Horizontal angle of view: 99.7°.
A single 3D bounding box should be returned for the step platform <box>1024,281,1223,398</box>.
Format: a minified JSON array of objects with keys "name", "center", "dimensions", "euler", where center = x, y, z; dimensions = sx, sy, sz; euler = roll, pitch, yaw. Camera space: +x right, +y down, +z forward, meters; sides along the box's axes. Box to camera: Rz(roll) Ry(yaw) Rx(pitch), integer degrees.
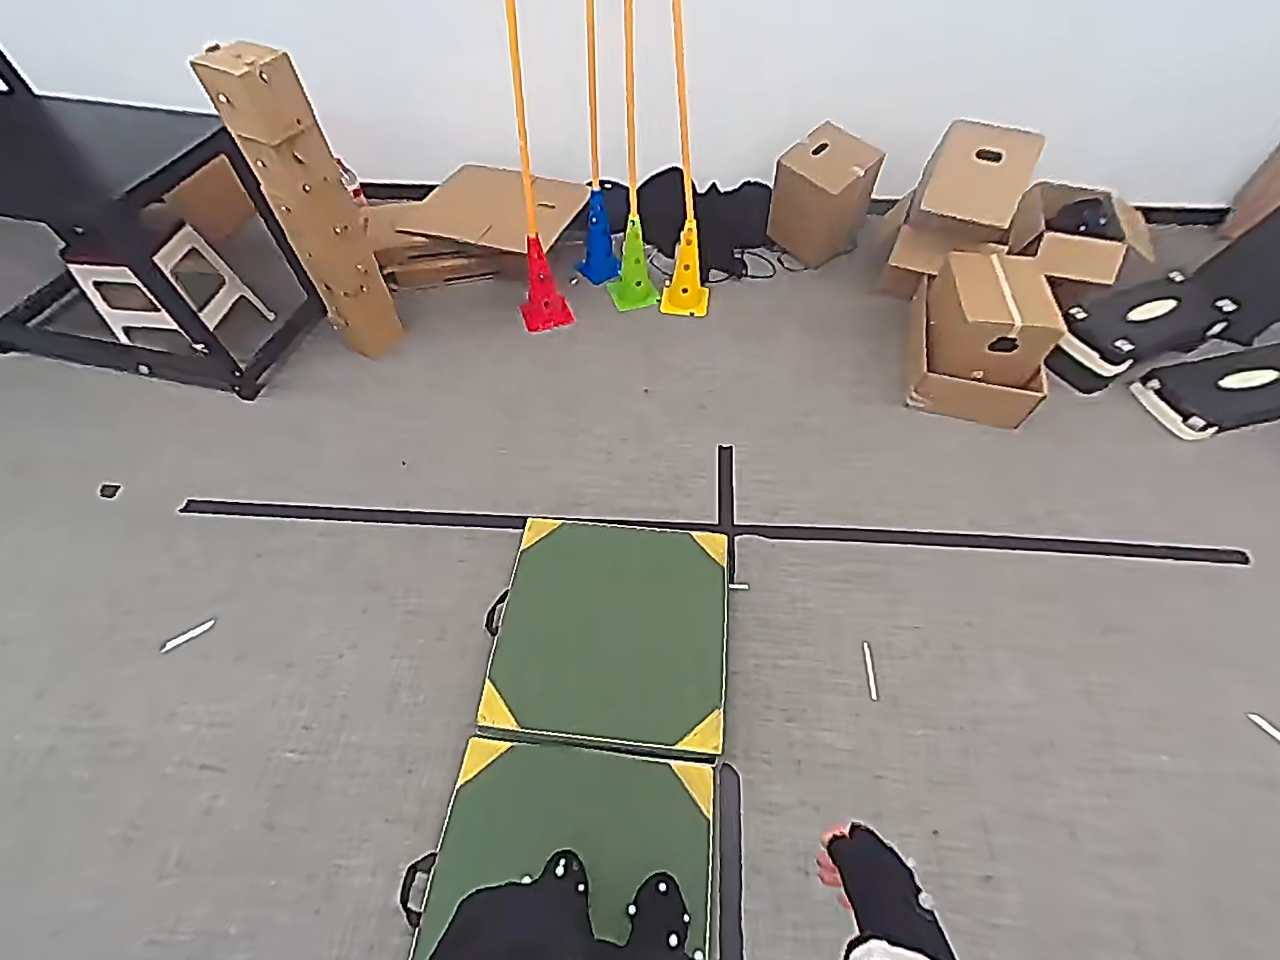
[{"name":"step platform","center":[1.900,-0.563,2.130],"dimensions":[0.684,0.204,0.286],"euler":[-21,58,-14]}]
